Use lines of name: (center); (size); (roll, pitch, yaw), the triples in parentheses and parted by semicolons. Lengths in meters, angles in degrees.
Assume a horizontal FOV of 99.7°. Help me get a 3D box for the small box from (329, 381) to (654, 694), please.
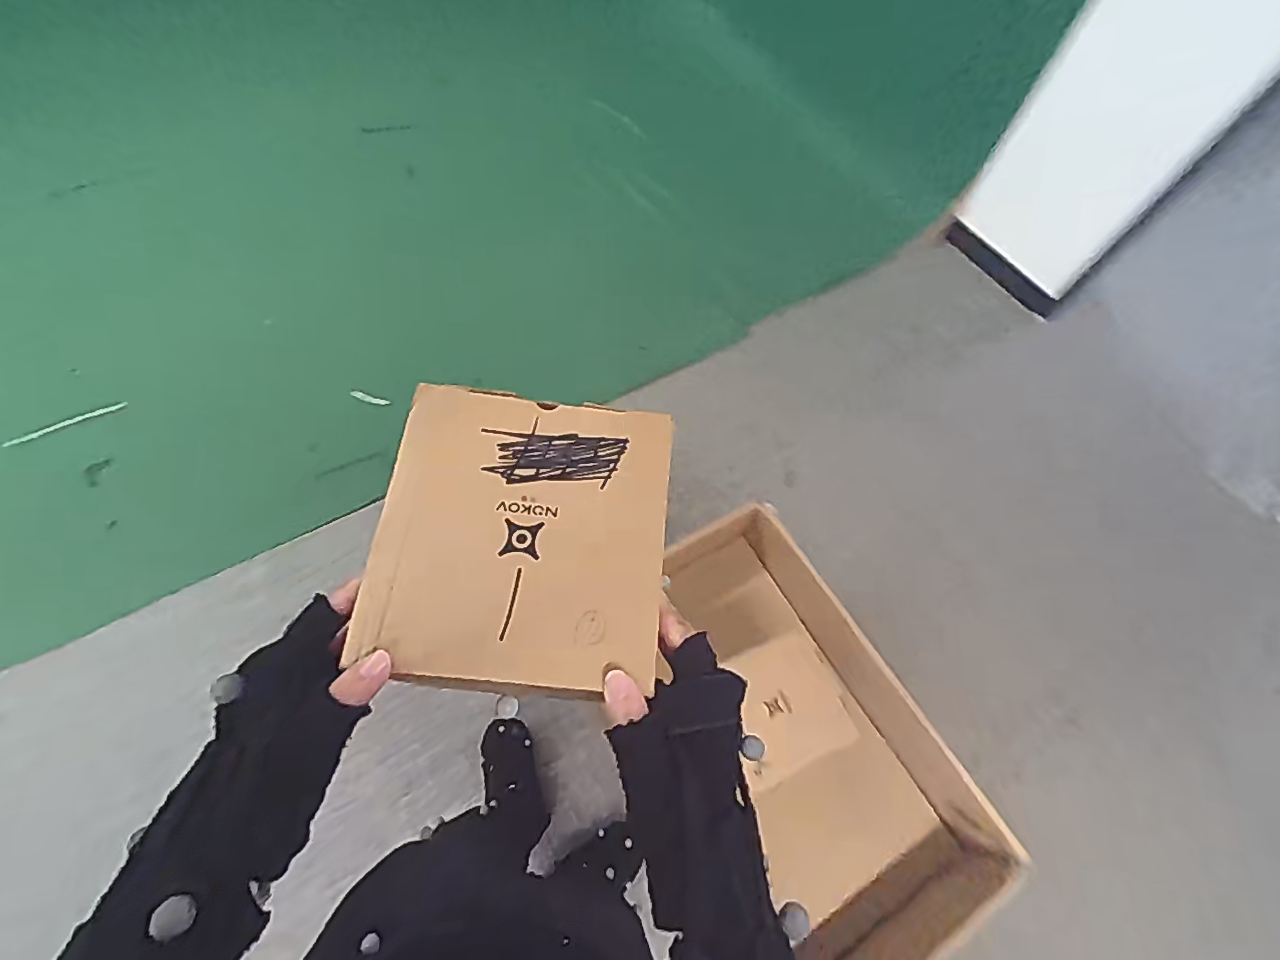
small box: (-0.086, 0.054, 0.394); (0.168, 0.176, 0.179); (6, 67, -4)

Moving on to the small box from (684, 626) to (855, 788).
small box: (0.184, 0.346, 0.829); (0.179, 0.176, 0.168); (-19, 66, -13)
